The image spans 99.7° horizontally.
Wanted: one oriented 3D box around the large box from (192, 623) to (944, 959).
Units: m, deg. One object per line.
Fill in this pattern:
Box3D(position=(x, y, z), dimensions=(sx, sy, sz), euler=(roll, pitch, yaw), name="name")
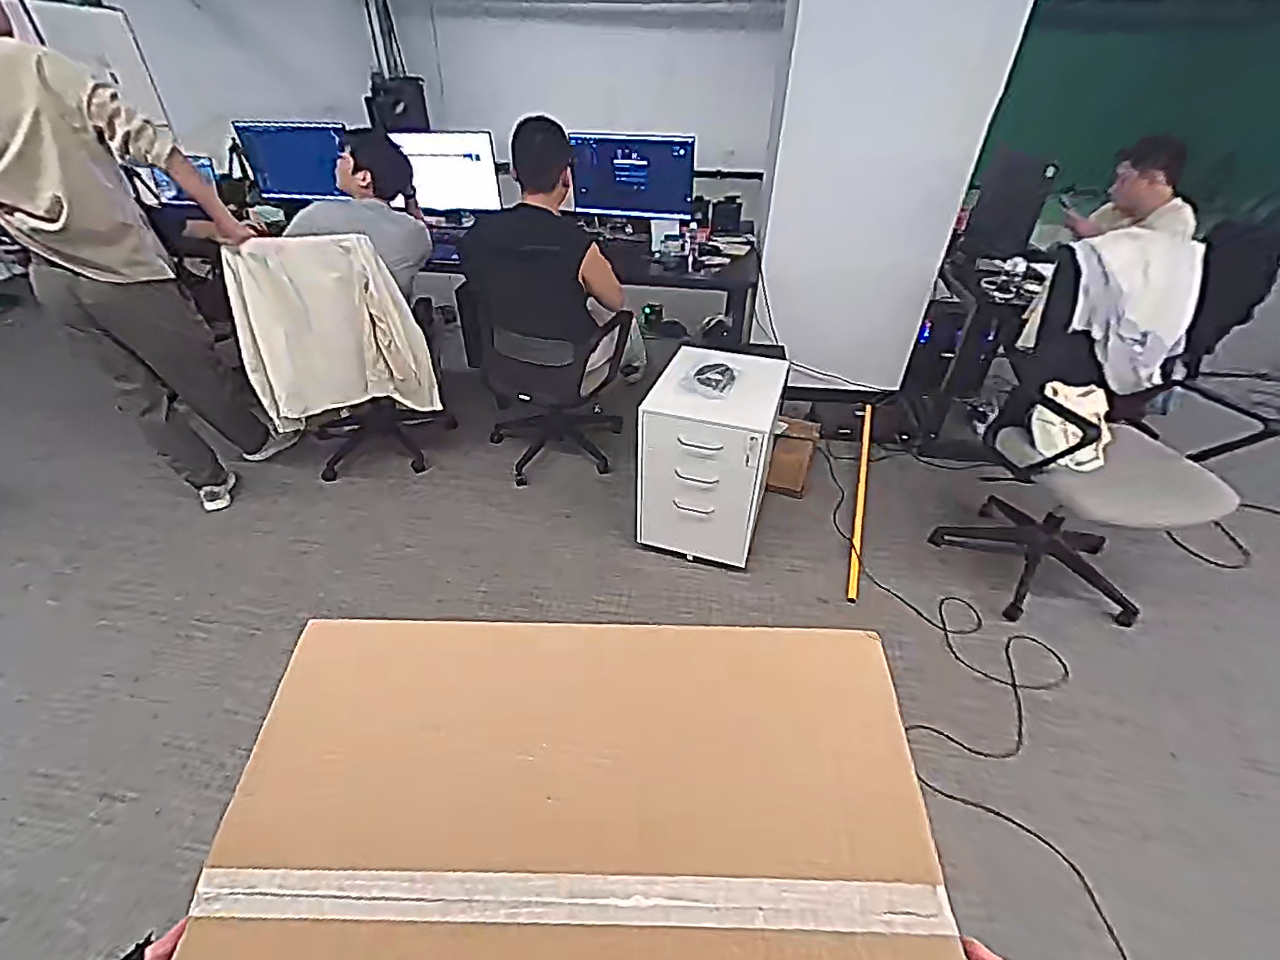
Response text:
Box3D(position=(-0.038, 0.319, 0.421), dimensions=(0.408, 0.320, 0.320), euler=(1, 53, 1), name="large box")
